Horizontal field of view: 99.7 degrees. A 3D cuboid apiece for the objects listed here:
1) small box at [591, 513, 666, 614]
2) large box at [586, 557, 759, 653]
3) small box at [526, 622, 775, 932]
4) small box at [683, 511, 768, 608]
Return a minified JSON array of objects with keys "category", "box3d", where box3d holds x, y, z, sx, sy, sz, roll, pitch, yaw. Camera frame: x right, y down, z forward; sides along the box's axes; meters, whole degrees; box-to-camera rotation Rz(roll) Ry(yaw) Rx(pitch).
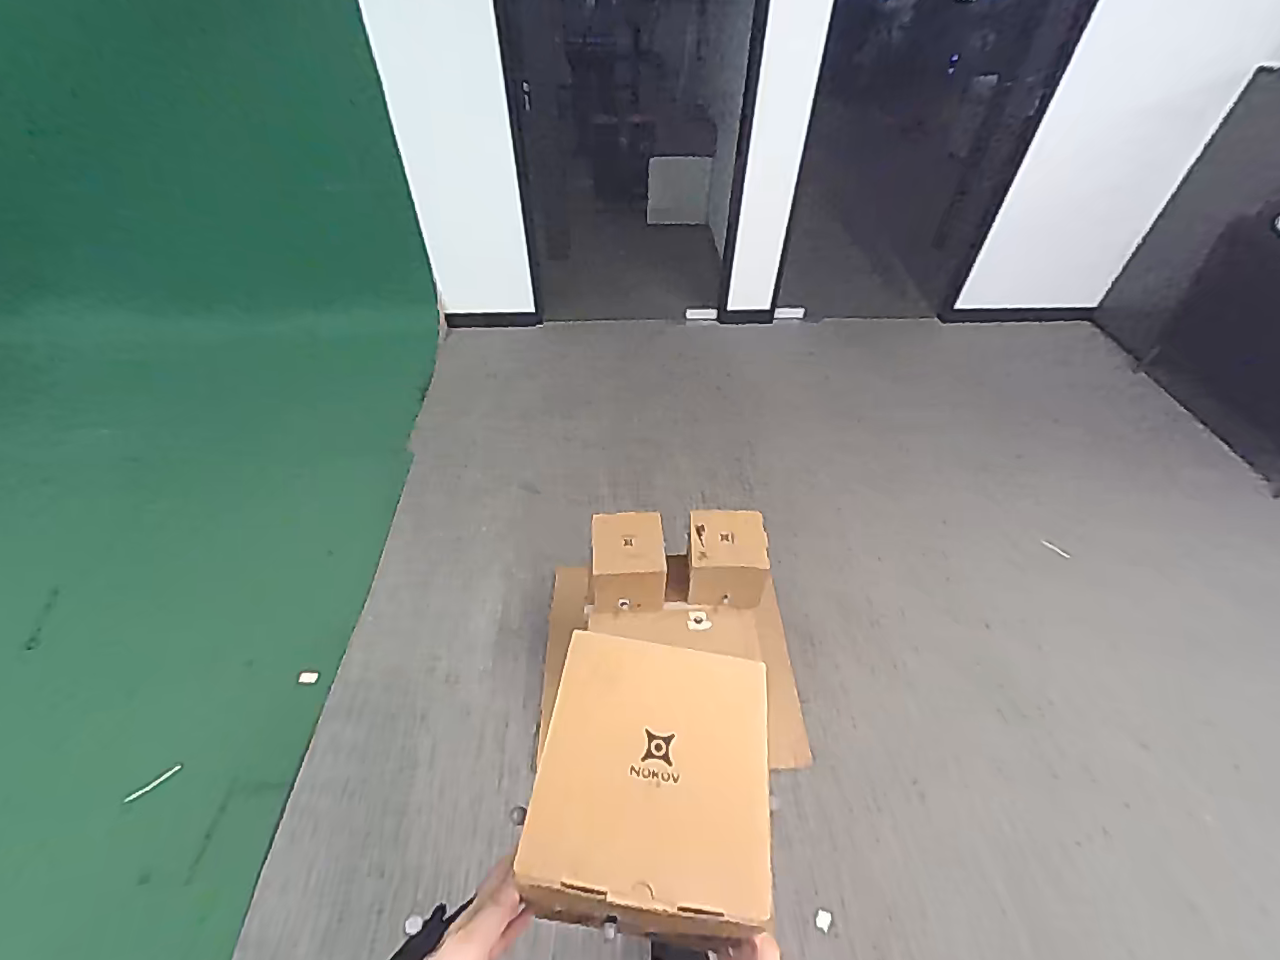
[{"category":"small box","box3d":[-0.032,0.200,1.296,0.168,0.176,0.179,-3,46,-4]},{"category":"large box","box3d":[0.062,0.418,1.426,0.408,0.320,0.320,-1,47,-4]},{"category":"small box","box3d":[0.008,0.250,0.457,0.168,0.176,0.179,9,46,1]},{"category":"small box","box3d":[0.199,0.195,1.304,0.179,0.176,0.168,2,46,1]}]
